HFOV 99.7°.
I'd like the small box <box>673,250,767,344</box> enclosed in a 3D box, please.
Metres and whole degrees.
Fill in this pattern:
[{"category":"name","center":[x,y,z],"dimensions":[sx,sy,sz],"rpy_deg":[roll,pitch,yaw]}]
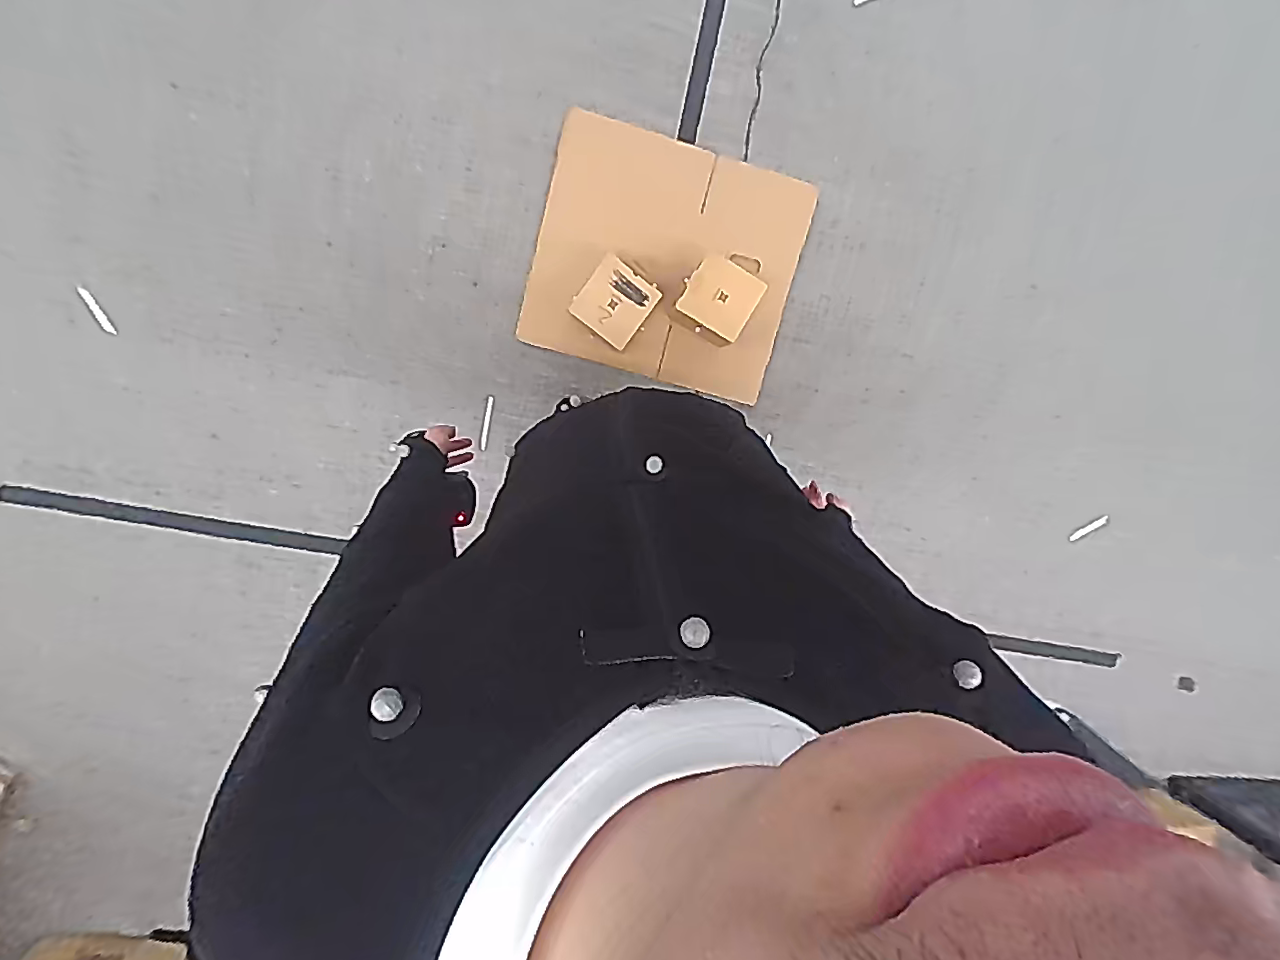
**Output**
[{"category":"small box","center":[0.203,-0.471,1.425],"dimensions":[0.179,0.176,0.168],"rpy_deg":[29,97,-5]}]
